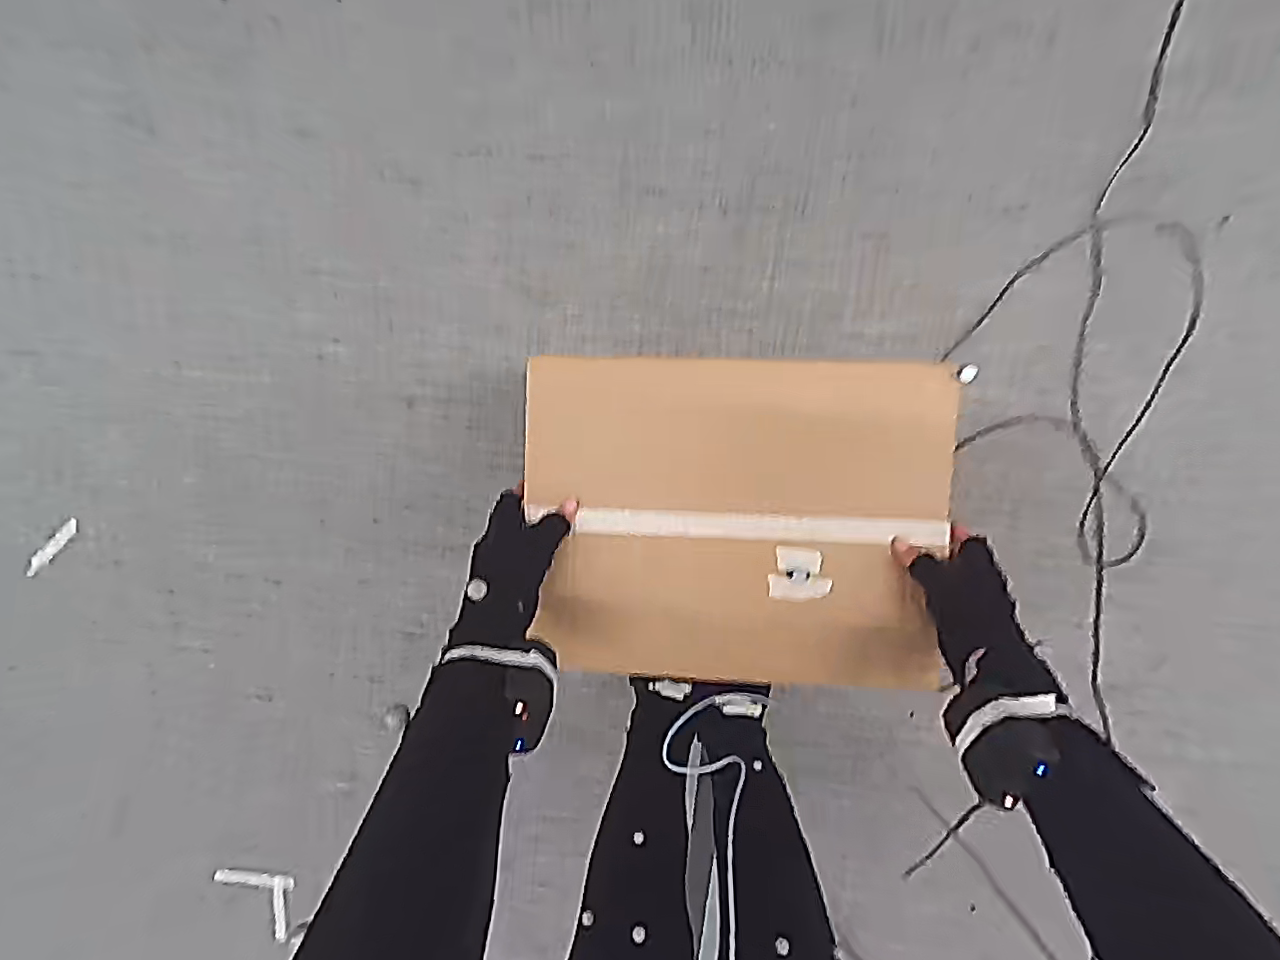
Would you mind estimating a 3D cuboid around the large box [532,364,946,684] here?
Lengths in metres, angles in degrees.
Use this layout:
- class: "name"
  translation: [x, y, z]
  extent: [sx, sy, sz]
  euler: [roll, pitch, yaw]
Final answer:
- class: "large box"
  translation: [0.099, 0.036, 0.679]
  extent: [0.408, 0.320, 0.320]
  euler: [2, 94, 5]
